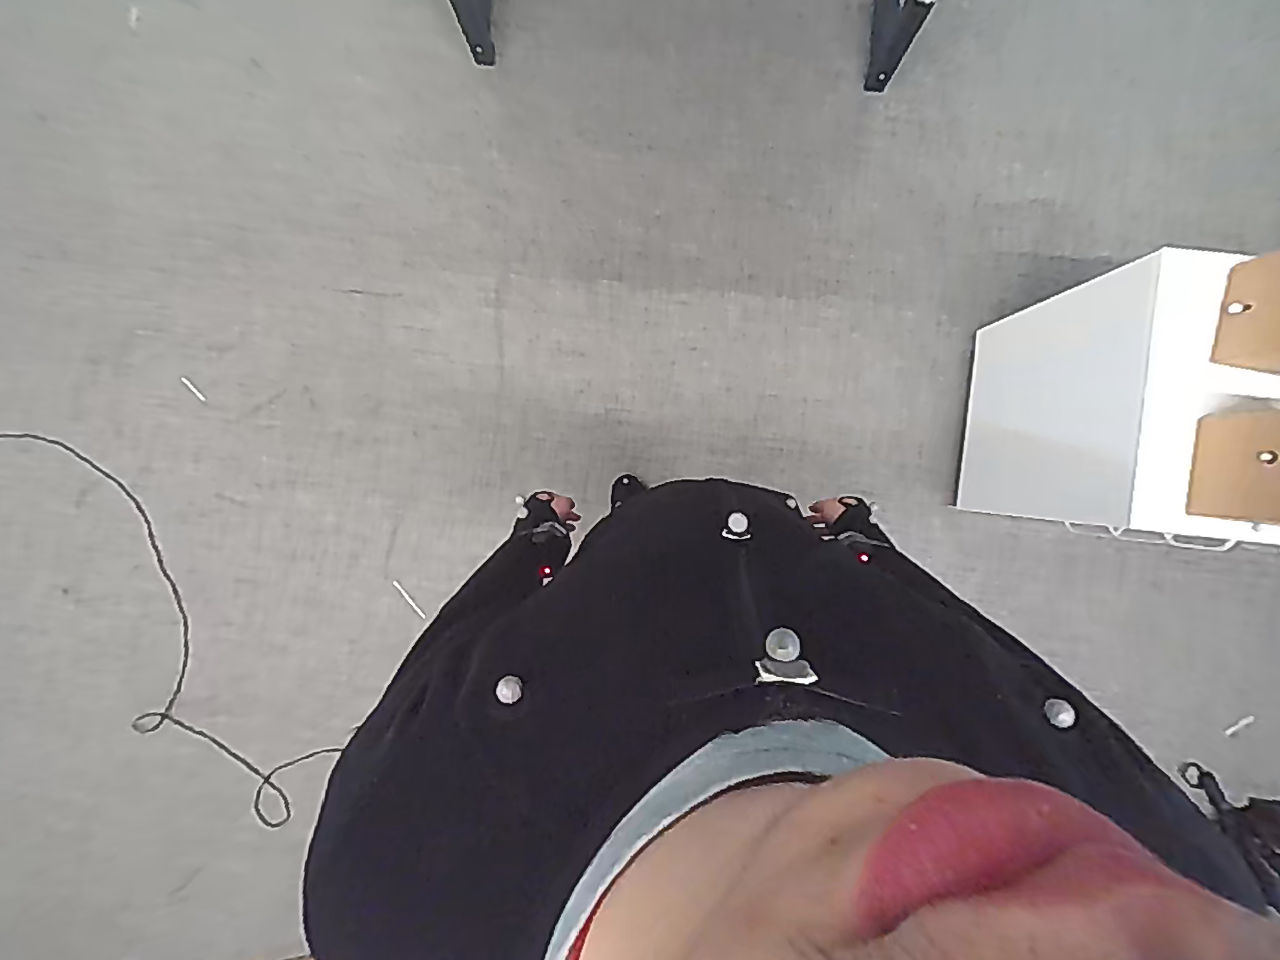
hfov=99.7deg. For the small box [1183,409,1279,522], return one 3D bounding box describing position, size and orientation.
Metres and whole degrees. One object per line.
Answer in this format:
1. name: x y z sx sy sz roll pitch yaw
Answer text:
1. small box: 1.065 -0.021 0.896 0.168 0.176 0.179 6 90 -1
